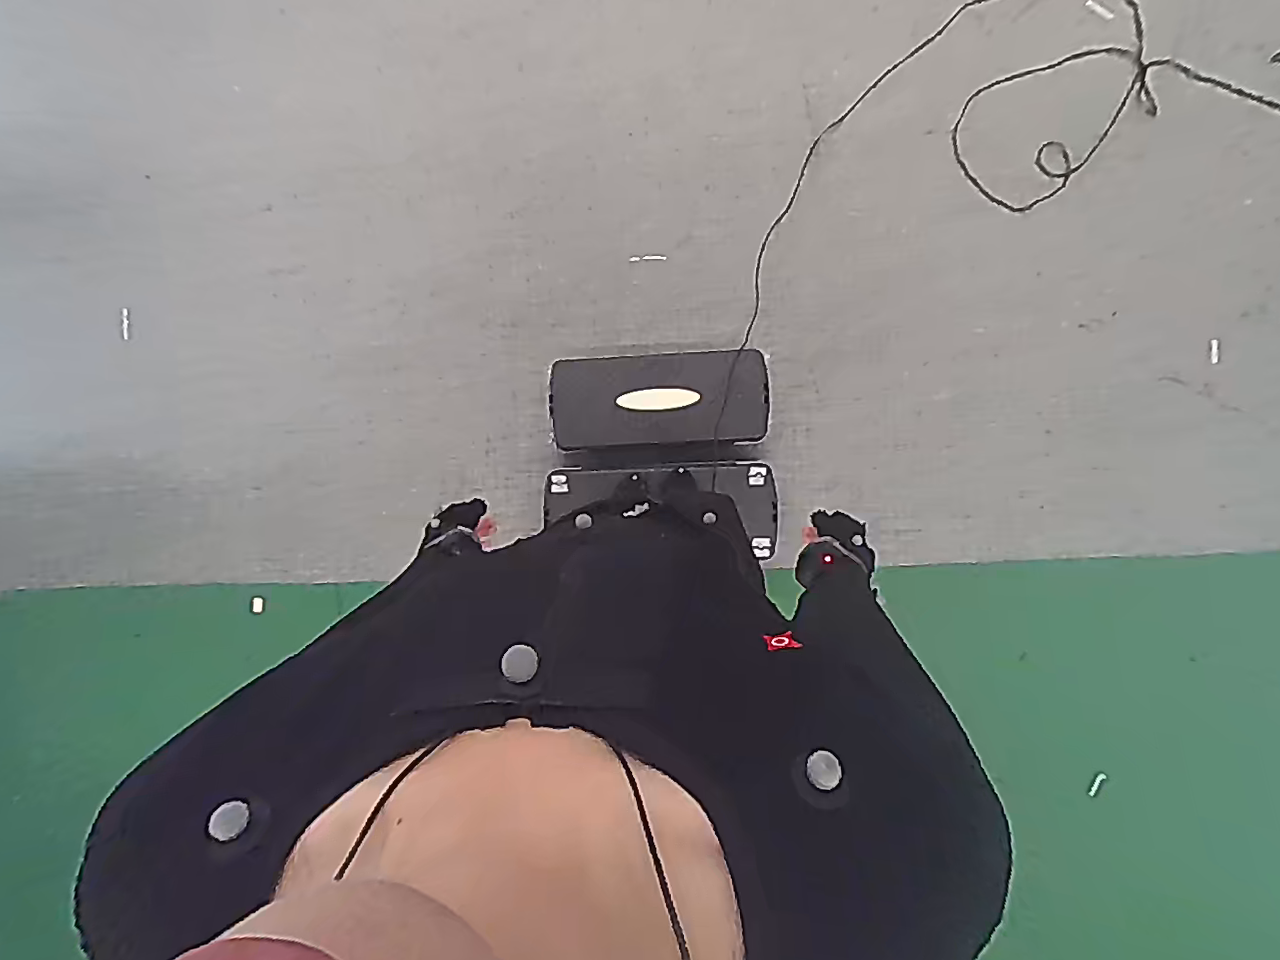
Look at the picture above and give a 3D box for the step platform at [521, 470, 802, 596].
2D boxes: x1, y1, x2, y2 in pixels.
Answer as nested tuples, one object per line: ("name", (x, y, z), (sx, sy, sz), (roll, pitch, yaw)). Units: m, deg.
("step platform", (0.050, 0.131, 1.398), (0.684, 0.204, 0.286), (-2, 89, 2))
